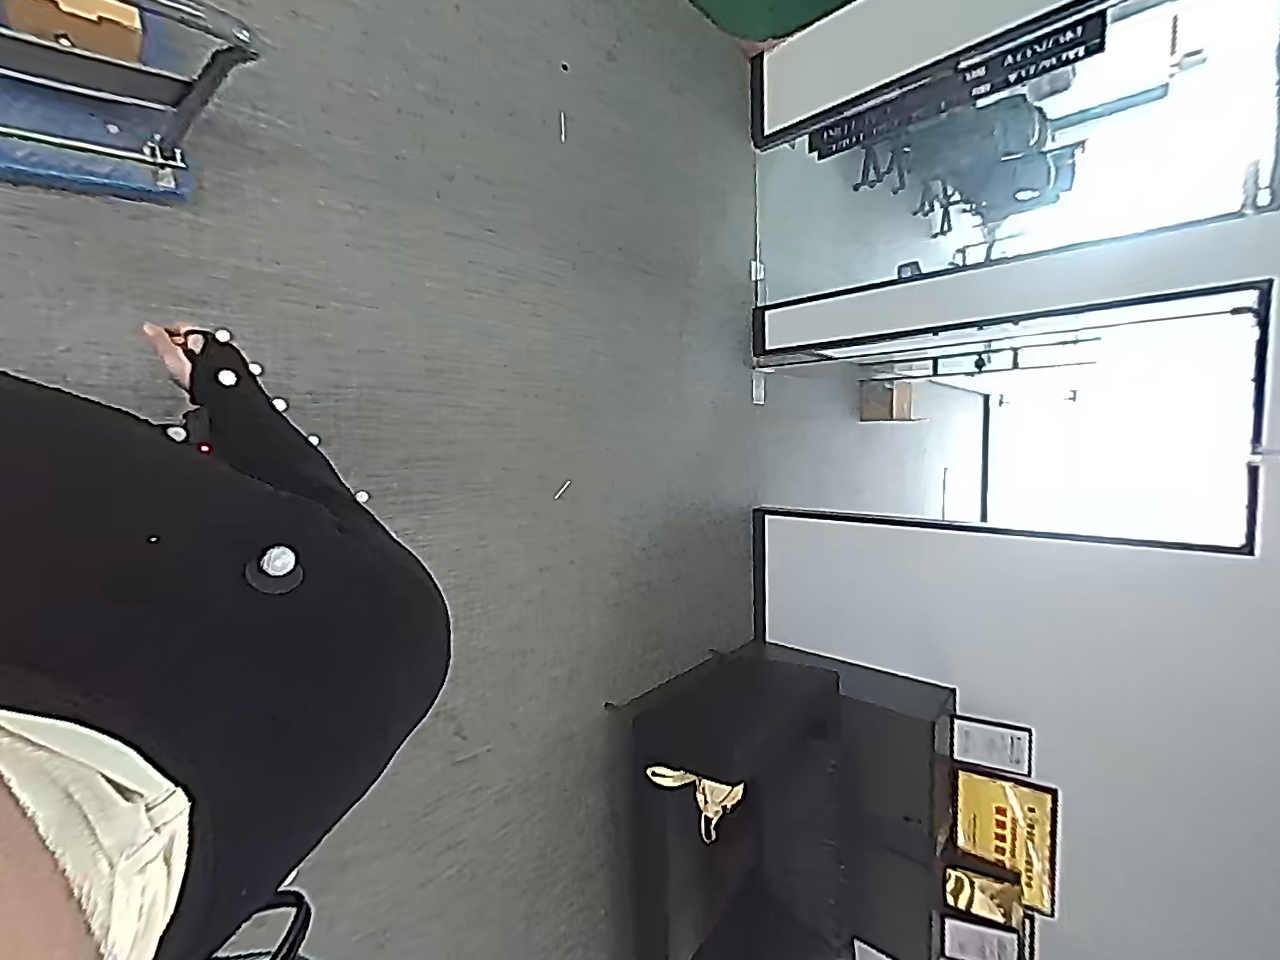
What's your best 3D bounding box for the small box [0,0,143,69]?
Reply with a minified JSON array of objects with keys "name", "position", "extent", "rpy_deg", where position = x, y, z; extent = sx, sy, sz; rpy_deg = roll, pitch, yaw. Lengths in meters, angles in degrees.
[{"name":"small box","position":[-1.012,-0.881,0.951],"extent":[0.168,0.176,0.179],"rpy_deg":[-14,104,-47]}]
